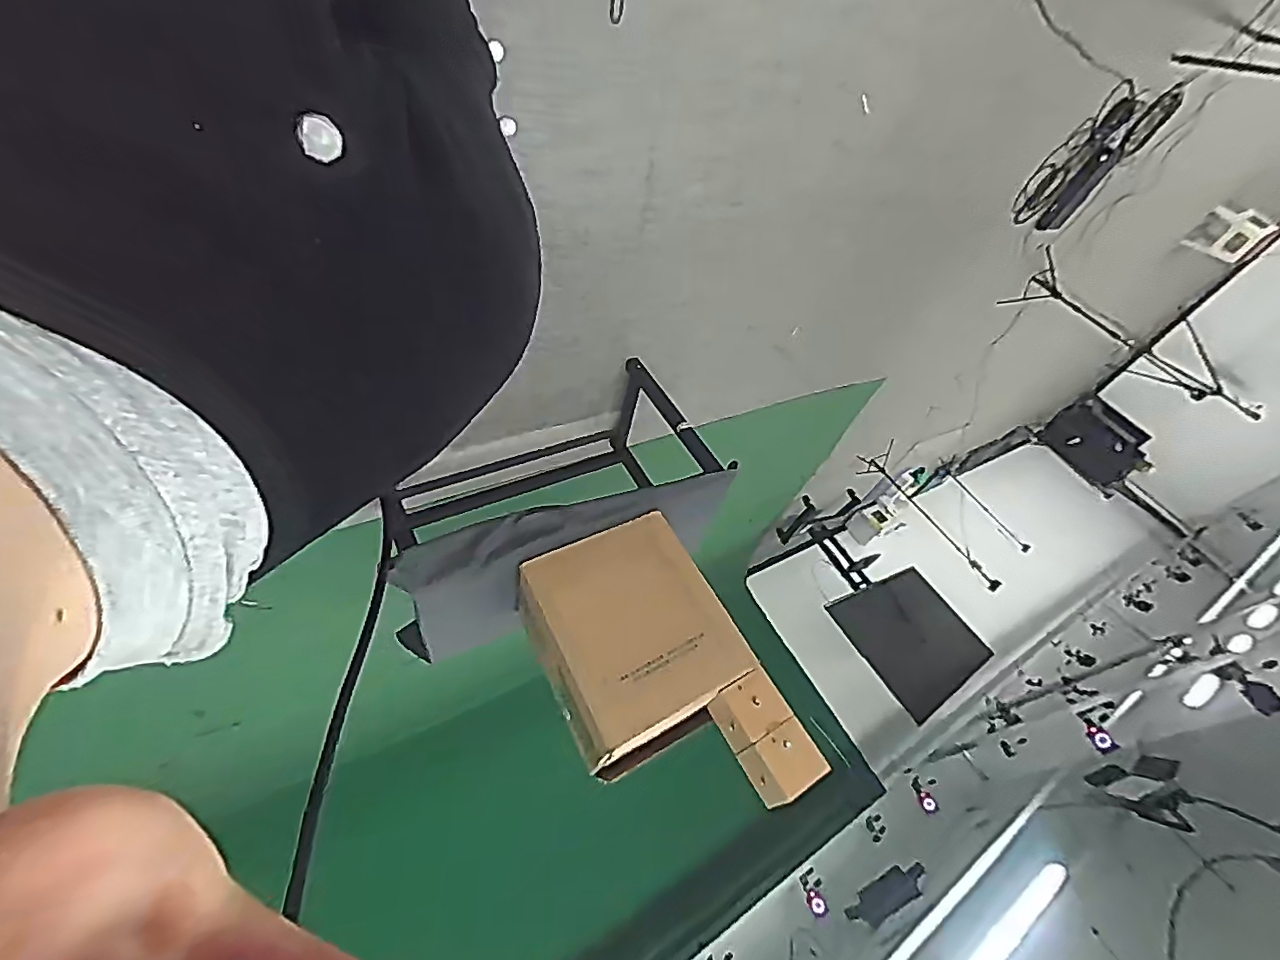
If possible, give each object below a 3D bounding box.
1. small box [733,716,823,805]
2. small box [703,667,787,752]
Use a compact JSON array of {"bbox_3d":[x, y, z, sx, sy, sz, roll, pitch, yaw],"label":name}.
[{"bbox_3d":[0.401,0.831,1.611,0.168,0.176,0.179,-22,150,-25],"label":"small box"},{"bbox_3d":[0.318,0.709,1.684,0.168,0.176,0.179,-22,151,-24],"label":"small box"}]
